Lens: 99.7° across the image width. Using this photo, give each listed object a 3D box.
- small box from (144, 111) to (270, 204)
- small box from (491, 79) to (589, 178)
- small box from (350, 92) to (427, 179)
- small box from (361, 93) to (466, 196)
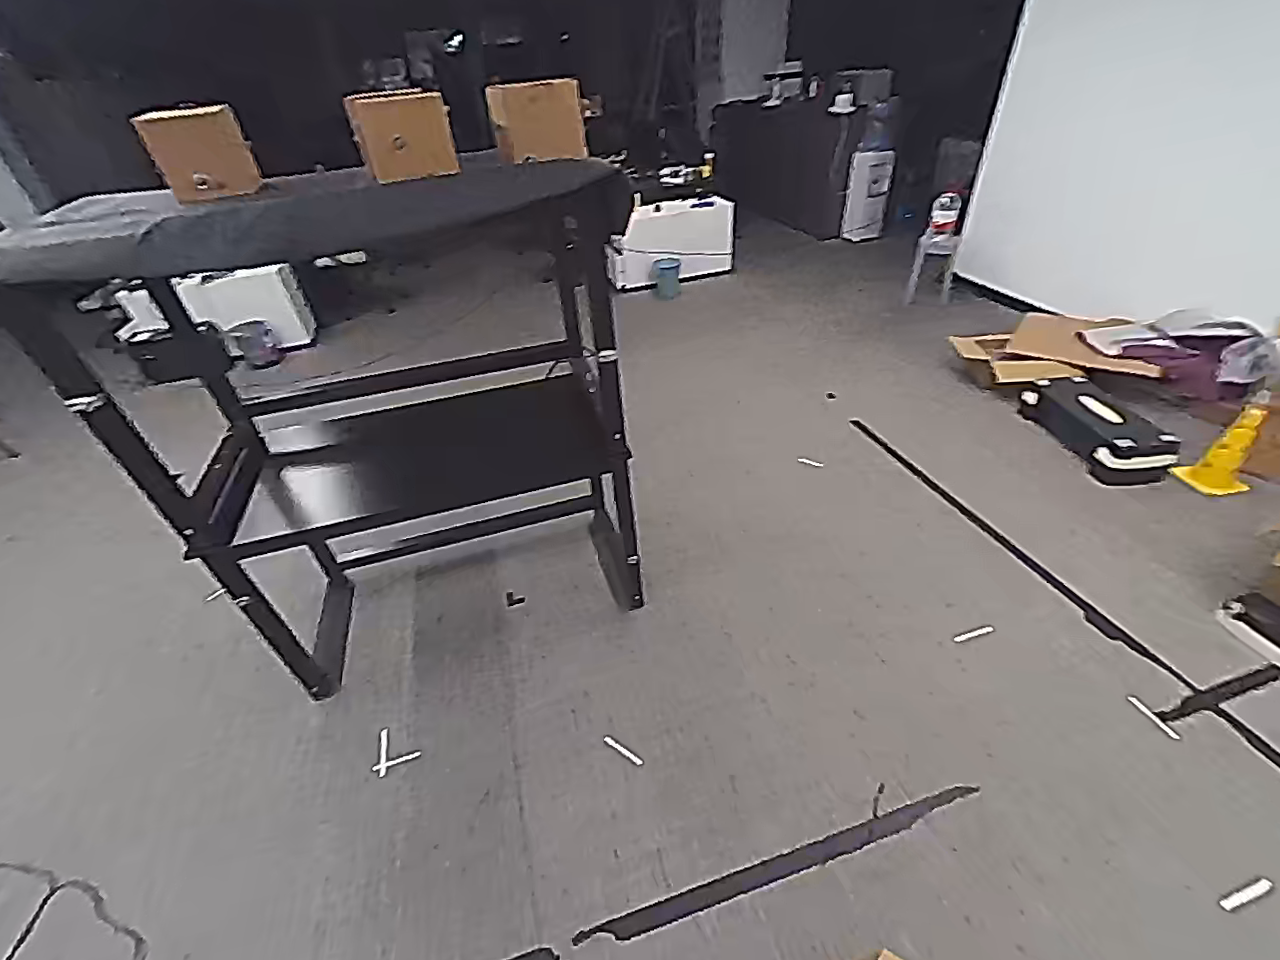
[{"bbox_3d":[-1.021,-0.773,1.296,0.168,0.176,0.179,-19,40,-15],"label":"small box"},{"bbox_3d":[-0.225,-0.797,1.229,0.168,0.176,0.179,-18,39,-15],"label":"small box"},{"bbox_3d":[-0.615,-0.889,1.394,0.179,0.176,0.168,-14,40,-11],"label":"small box"},{"bbox_3d":[-0.489,-0.734,1.185,0.168,0.176,0.179,-16,38,-12],"label":"small box"}]
